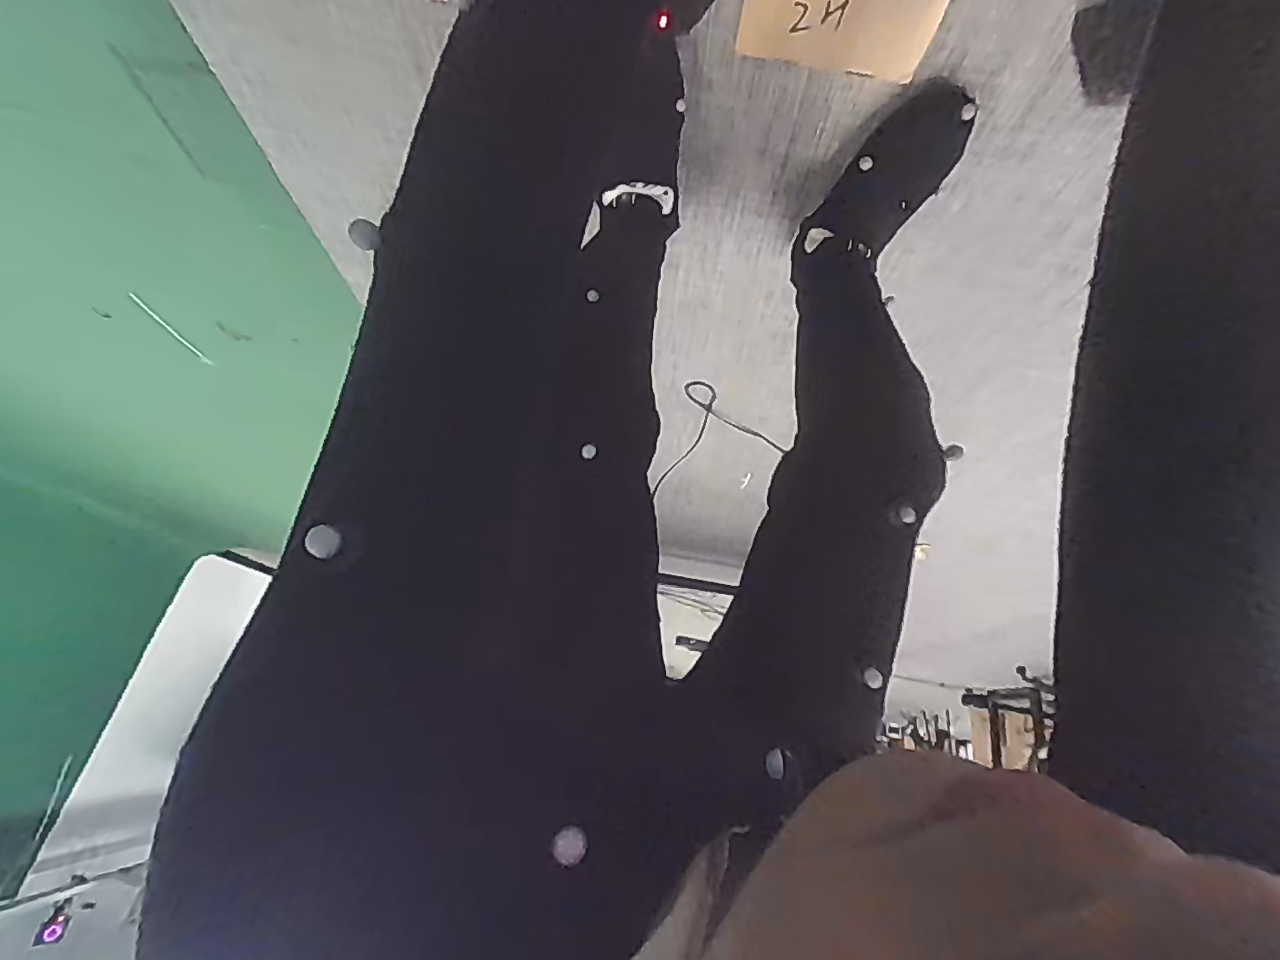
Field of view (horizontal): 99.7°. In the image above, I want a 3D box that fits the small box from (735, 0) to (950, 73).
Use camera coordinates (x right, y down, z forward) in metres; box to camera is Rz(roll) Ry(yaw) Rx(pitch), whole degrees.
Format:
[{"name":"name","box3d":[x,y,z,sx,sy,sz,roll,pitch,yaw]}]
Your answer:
[{"name":"small box","box3d":[0.182,-0.480,0.431,0.168,0.176,0.179,11,157,1]}]
